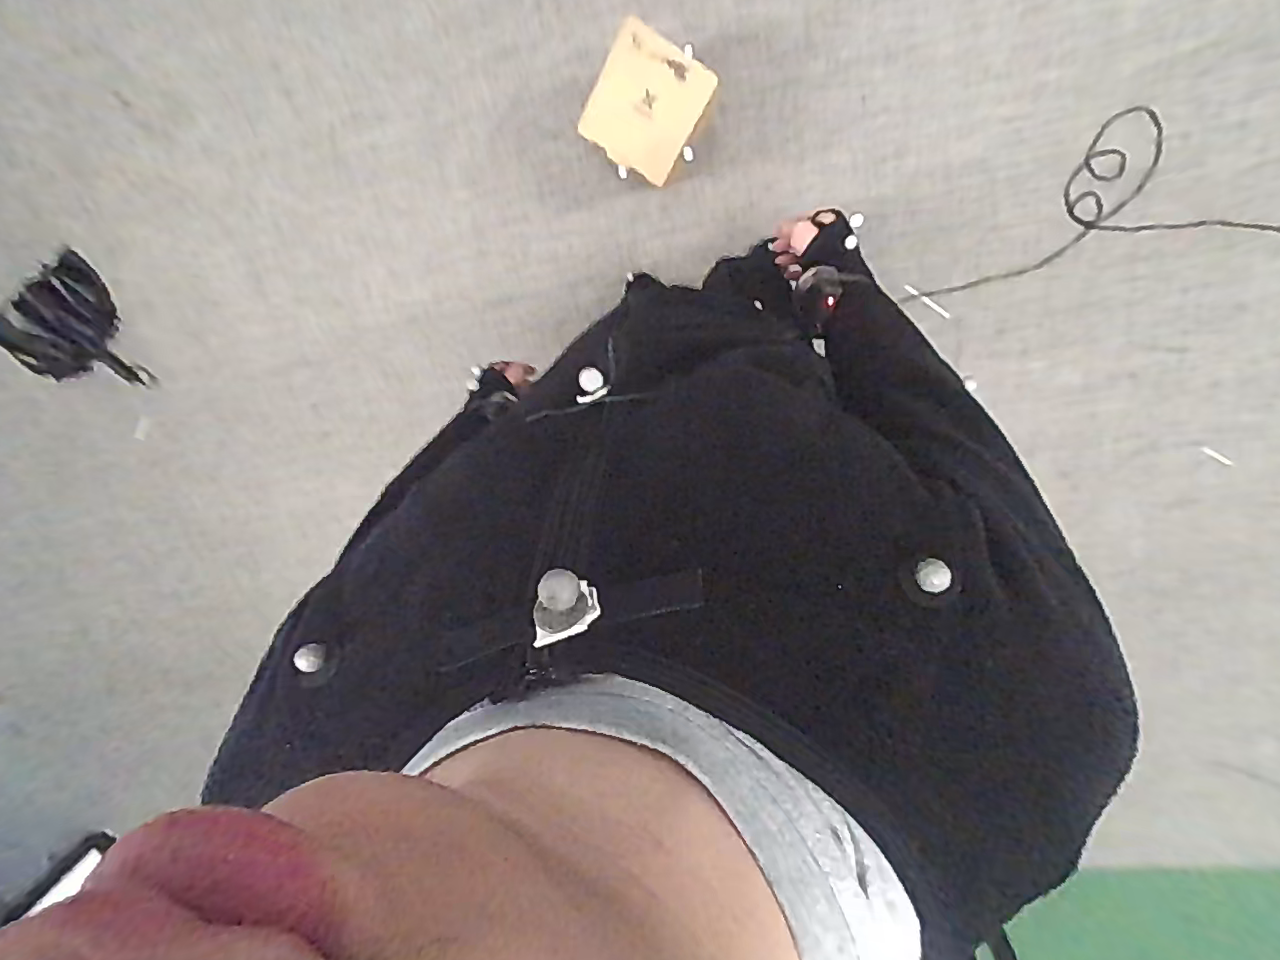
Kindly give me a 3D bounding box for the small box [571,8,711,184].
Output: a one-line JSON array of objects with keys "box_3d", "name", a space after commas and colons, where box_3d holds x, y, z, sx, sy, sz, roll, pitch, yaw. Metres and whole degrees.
[{"box_3d": [0.009, -0.636, 0.926, 0.168, 0.176, 0.179, 31, 115, -8], "name": "small box"}]
